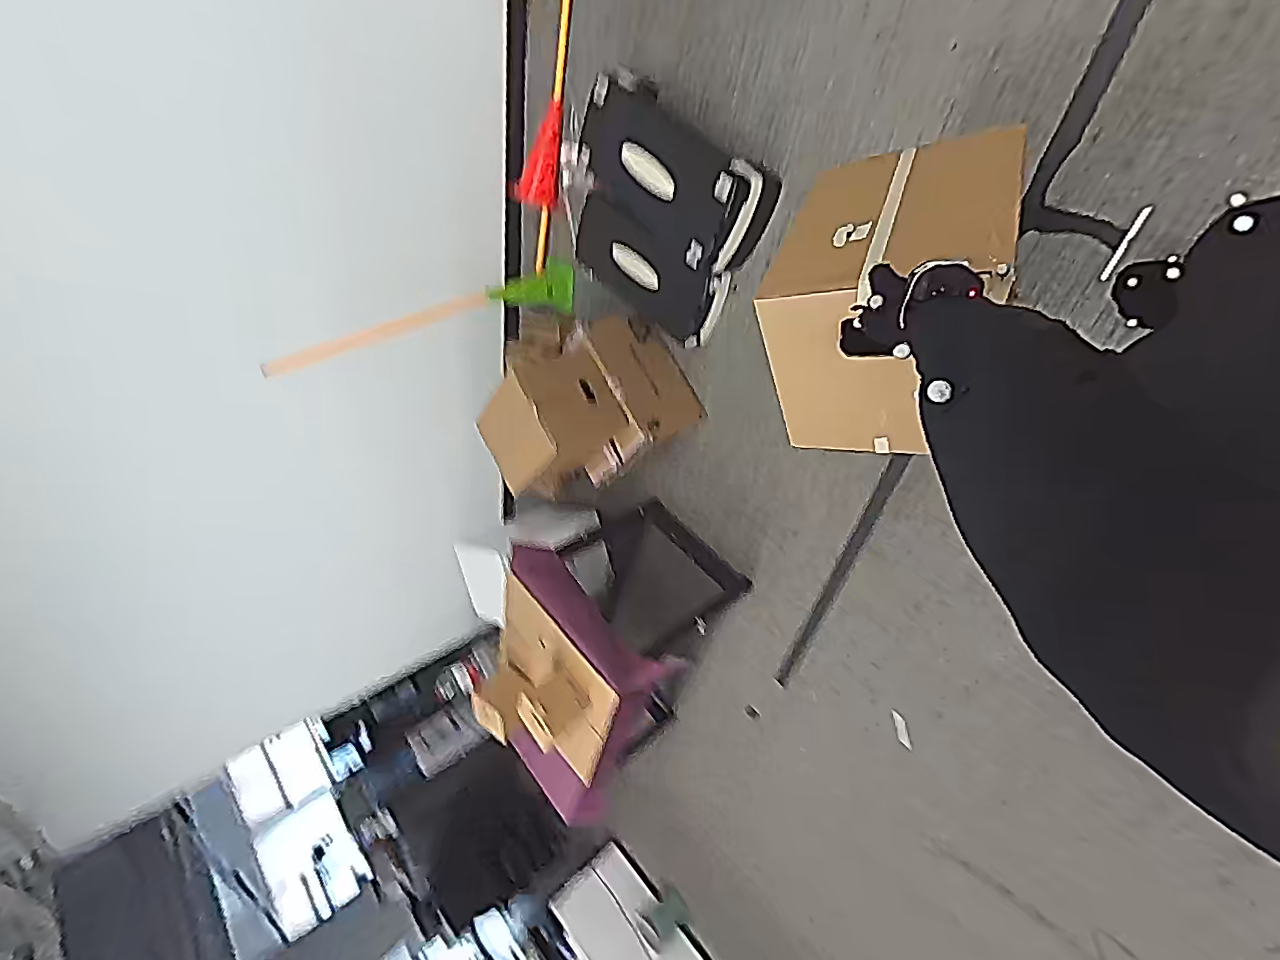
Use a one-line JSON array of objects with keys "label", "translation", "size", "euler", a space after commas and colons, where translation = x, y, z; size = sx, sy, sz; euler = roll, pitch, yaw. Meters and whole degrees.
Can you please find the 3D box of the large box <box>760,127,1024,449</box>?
[{"label": "large box", "translation": [0.429, -0.307, 0.903], "size": [0.320, 0.408, 0.320], "euler": [6, 143, 33]}]
